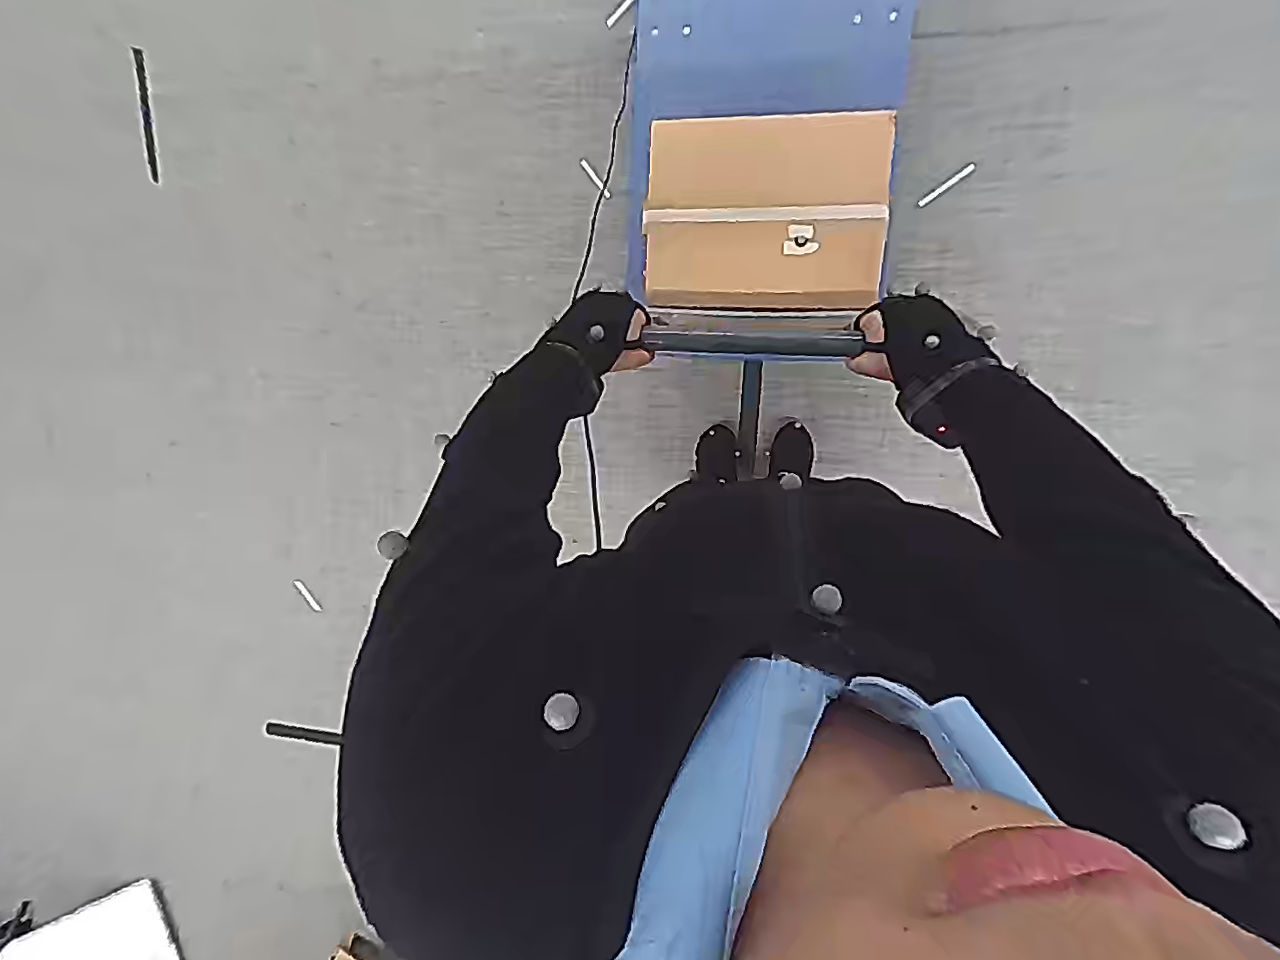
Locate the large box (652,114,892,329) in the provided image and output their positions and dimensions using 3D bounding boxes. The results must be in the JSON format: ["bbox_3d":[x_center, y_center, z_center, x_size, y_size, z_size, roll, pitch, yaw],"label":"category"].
[{"bbox_3d":[0.241,-0.484,1.091,0.408,0.320,0.320,3,100,9],"label":"large box"}]
